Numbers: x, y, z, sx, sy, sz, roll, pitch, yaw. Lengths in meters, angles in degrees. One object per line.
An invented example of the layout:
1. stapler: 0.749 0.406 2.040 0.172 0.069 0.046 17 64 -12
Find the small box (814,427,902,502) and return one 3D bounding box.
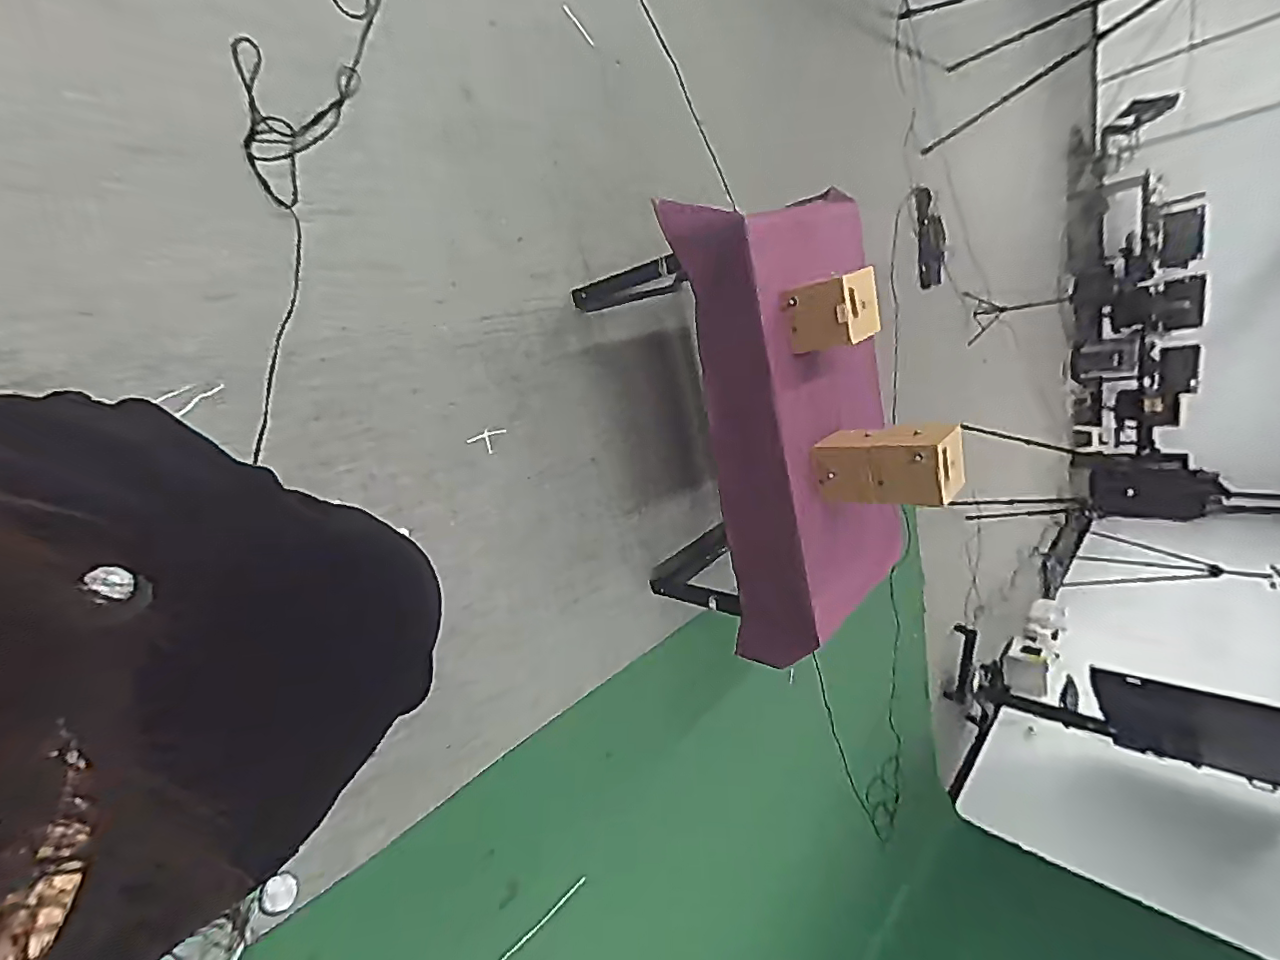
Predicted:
1. small box: 0.617 -0.049 1.530 0.179 0.176 0.168 -25 109 -38

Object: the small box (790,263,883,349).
1. small box: 0.501 -0.445 1.396 0.179 0.176 0.168 -30 113 -38
